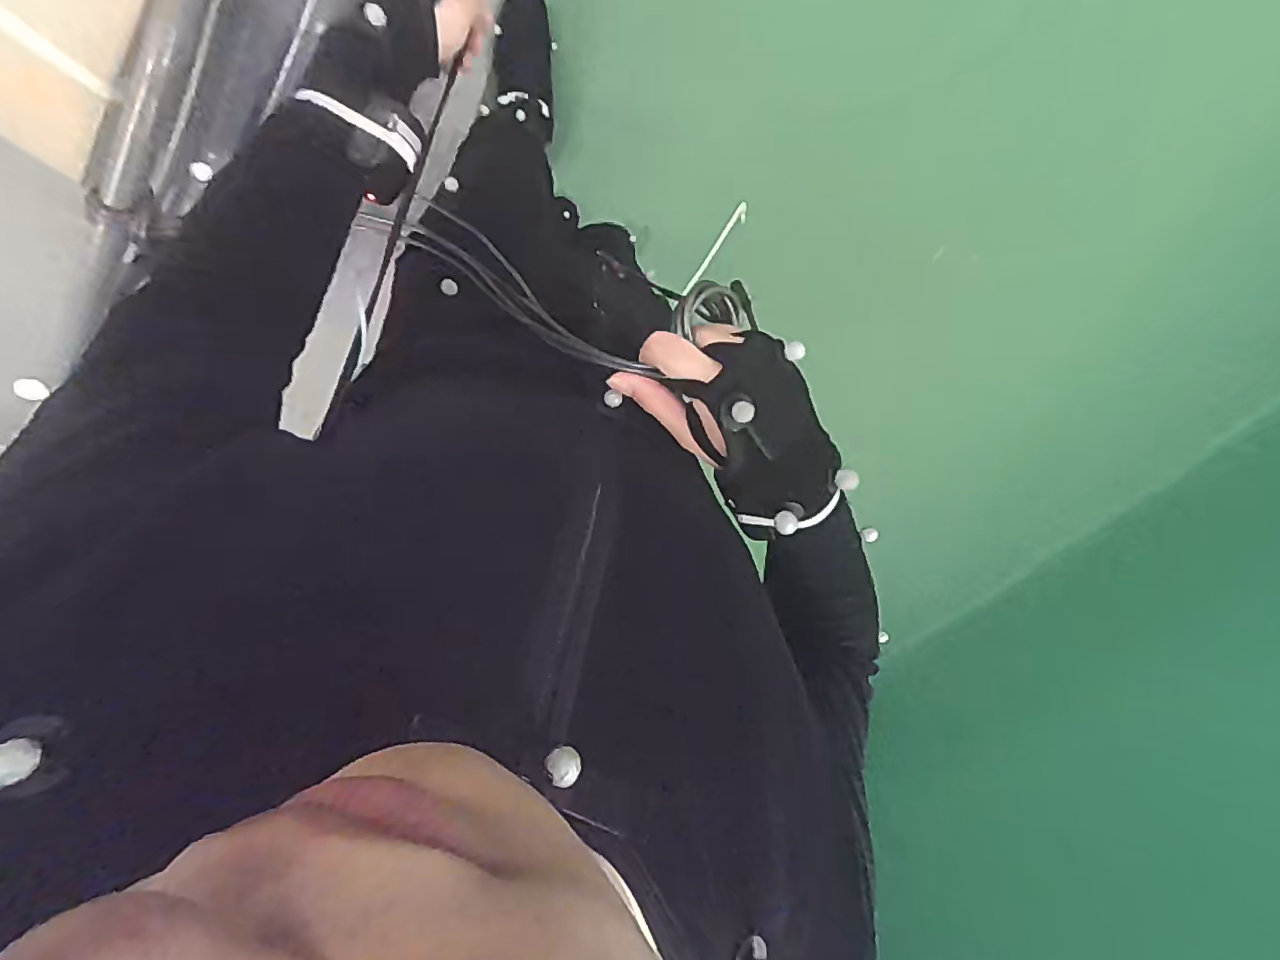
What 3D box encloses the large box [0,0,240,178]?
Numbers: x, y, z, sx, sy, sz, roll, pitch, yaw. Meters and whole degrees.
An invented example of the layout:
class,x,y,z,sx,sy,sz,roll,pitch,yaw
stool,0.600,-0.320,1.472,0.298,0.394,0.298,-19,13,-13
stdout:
class,x,y,z,sx,sy,sz,roll,pitch,yaw
large box,-0.857,-0.710,0.724,0.320,0.320,0.408,-40,127,23
